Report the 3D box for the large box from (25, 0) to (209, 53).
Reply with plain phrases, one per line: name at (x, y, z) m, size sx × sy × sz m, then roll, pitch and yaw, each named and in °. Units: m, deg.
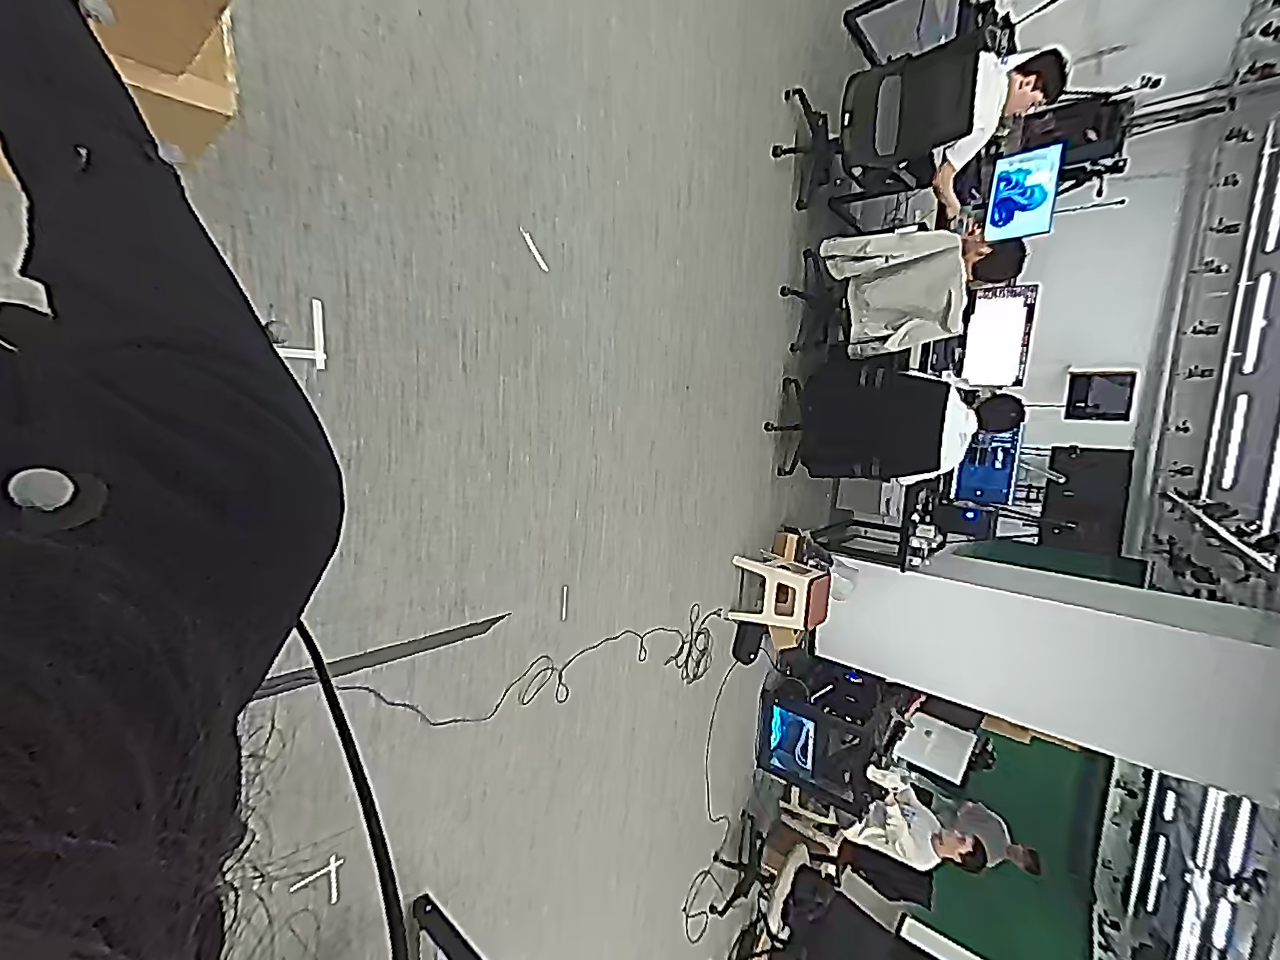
large box at (-0.600, -0.647, 0.421) m, size 0.408 × 0.320 × 0.320 m, roll -9°, pitch 105°, yaw -51°
